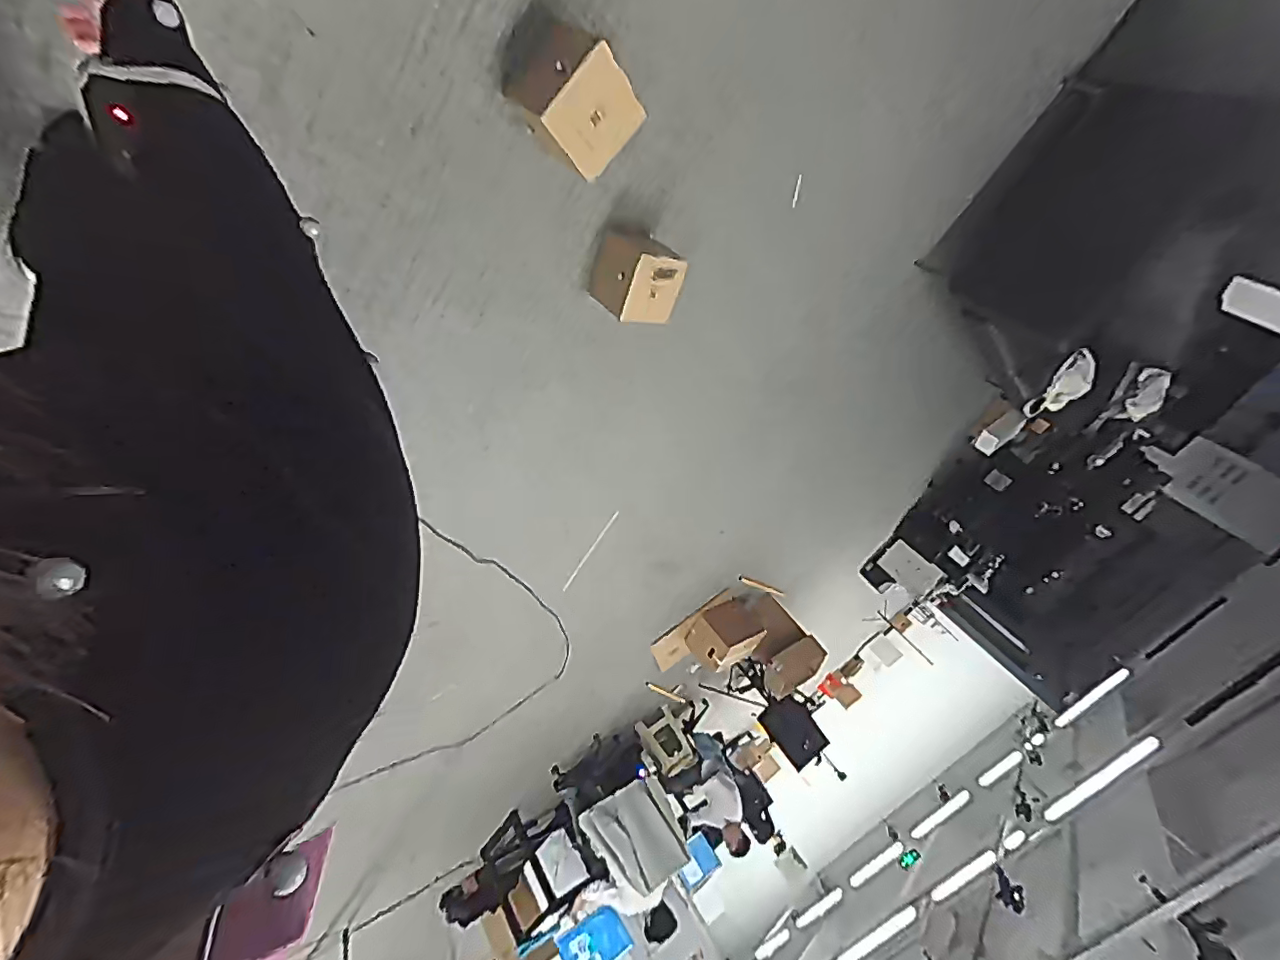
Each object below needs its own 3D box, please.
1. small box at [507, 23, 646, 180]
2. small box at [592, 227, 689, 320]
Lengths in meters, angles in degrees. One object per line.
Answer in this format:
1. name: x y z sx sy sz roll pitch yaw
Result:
1. small box: -0.128 -0.743 1.062 0.179 0.176 0.168 -47 147 8
2. small box: -0.006 -0.543 1.426 0.168 0.176 0.179 -11 137 -39
